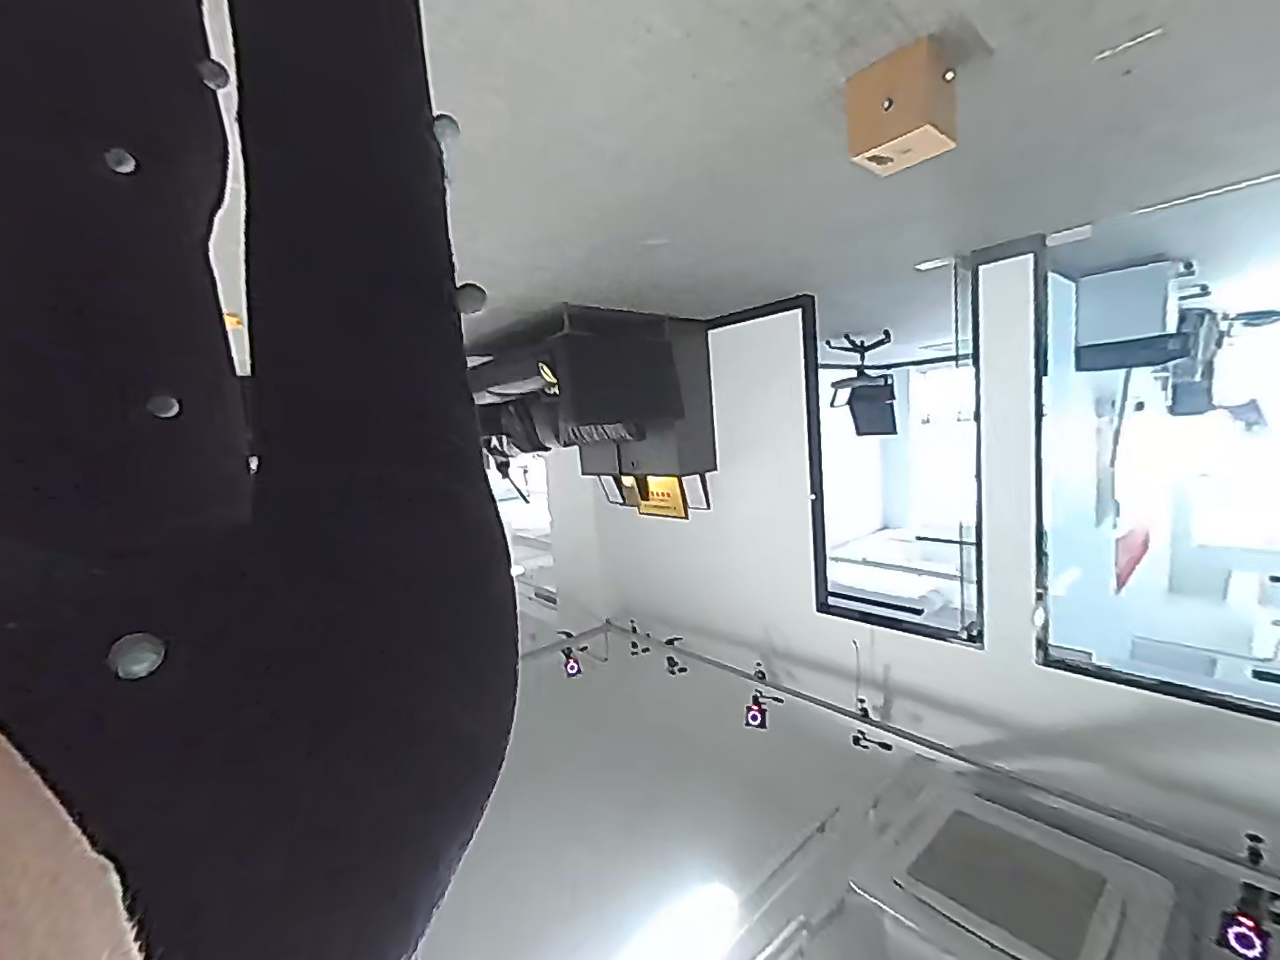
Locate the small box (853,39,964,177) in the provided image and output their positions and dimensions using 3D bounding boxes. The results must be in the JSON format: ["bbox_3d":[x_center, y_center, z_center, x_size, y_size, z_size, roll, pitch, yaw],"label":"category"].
[{"bbox_3d":[0.586,-0.801,1.182,0.168,0.176,0.179,-10,-173,-40],"label":"small box"}]
